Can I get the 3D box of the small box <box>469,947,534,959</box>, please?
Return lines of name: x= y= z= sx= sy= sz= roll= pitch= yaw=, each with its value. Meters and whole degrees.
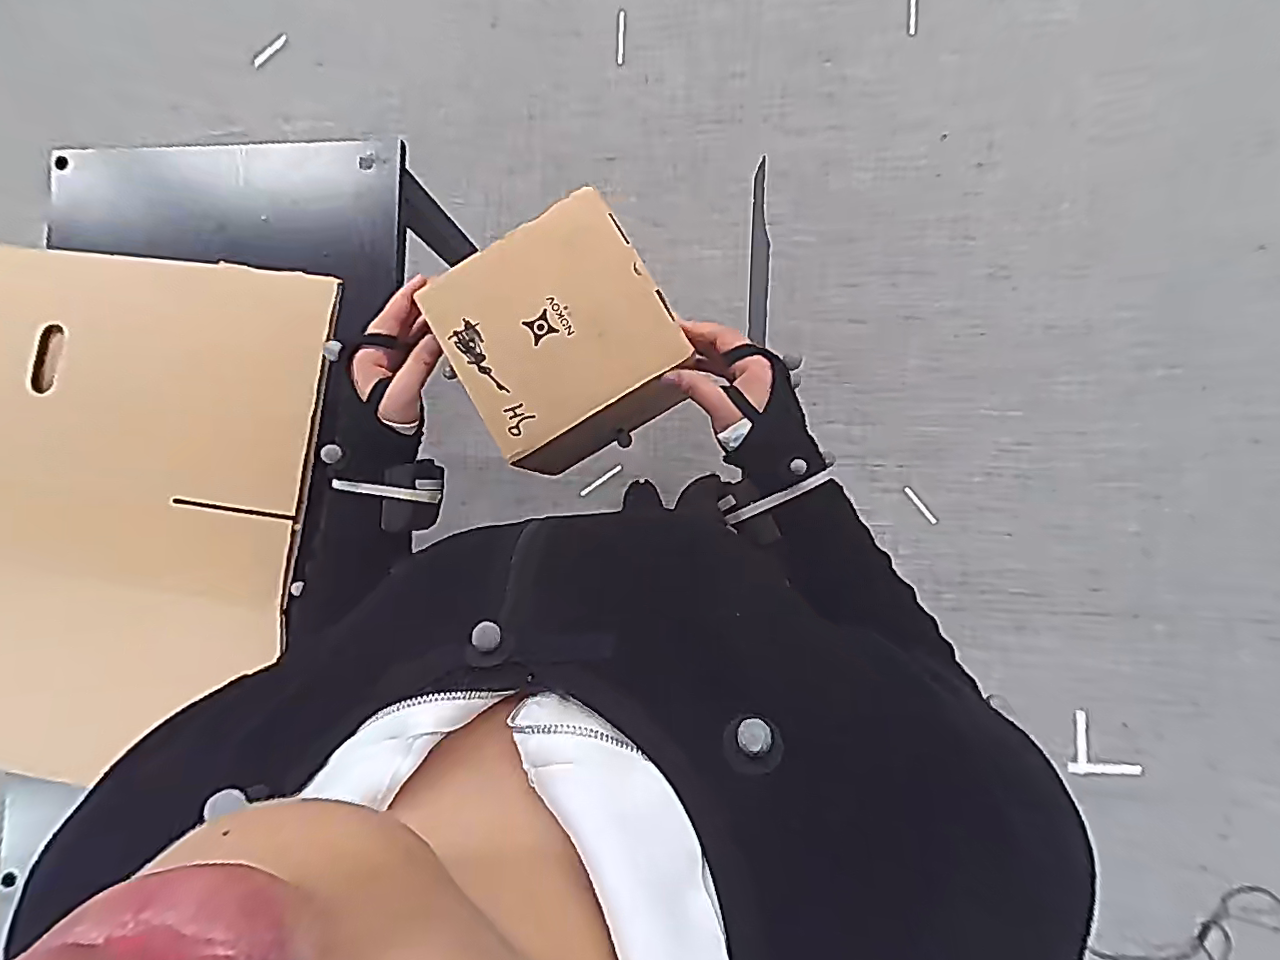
small box: x=-0.388 y=1.374 z=1.417 sx=0.179 sy=0.176 sz=0.168 roll=-2 pitch=88 yaw=5
